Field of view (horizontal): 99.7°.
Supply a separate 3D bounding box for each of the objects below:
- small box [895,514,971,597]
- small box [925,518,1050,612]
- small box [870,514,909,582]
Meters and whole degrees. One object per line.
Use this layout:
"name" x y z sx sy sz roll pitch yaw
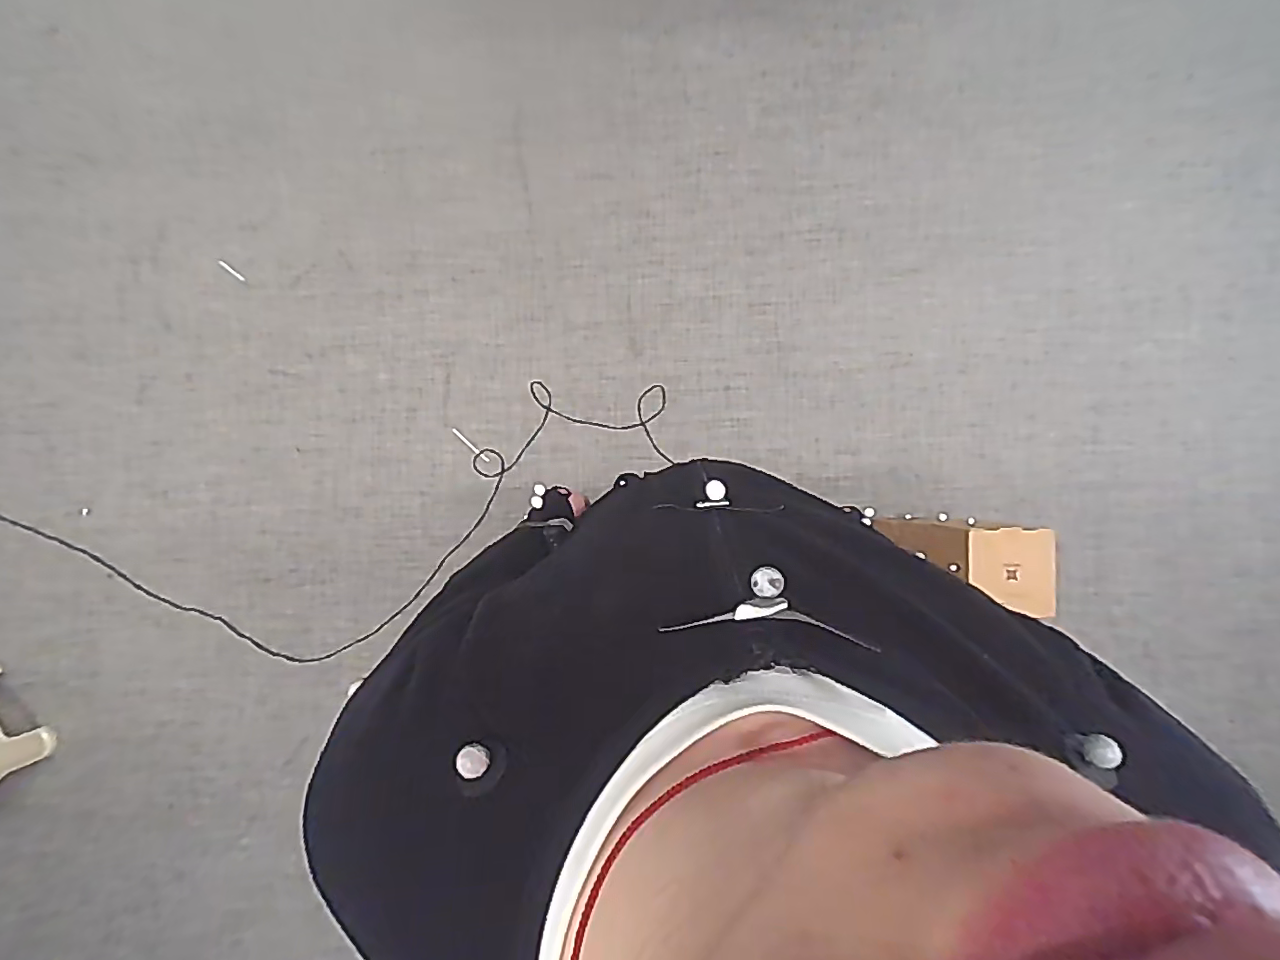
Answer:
"small box" 0.736 0.177 1.307 0.168 0.176 0.179 -1 90 1
"small box" 0.726 0.173 1.146 0.168 0.176 0.179 -1 92 2
"small box" 0.742 0.182 1.472 0.179 0.176 0.168 0 91 2
